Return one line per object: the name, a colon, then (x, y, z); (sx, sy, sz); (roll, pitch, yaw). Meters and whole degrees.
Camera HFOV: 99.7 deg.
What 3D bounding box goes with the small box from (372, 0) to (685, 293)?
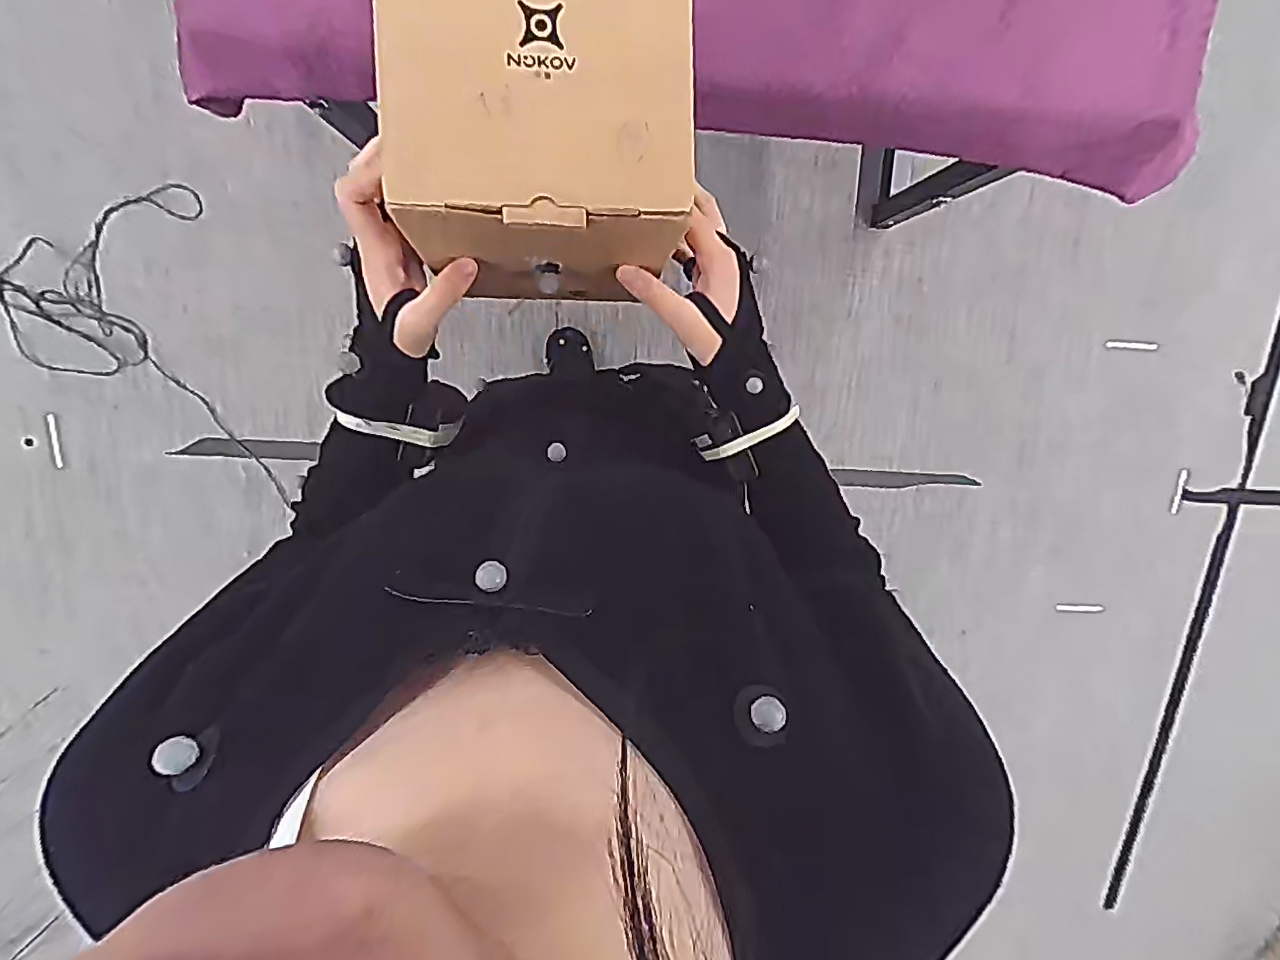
small box: (-0.066, -0.235, 0.366); (0.168, 0.176, 0.179); (-1, 94, -8)
